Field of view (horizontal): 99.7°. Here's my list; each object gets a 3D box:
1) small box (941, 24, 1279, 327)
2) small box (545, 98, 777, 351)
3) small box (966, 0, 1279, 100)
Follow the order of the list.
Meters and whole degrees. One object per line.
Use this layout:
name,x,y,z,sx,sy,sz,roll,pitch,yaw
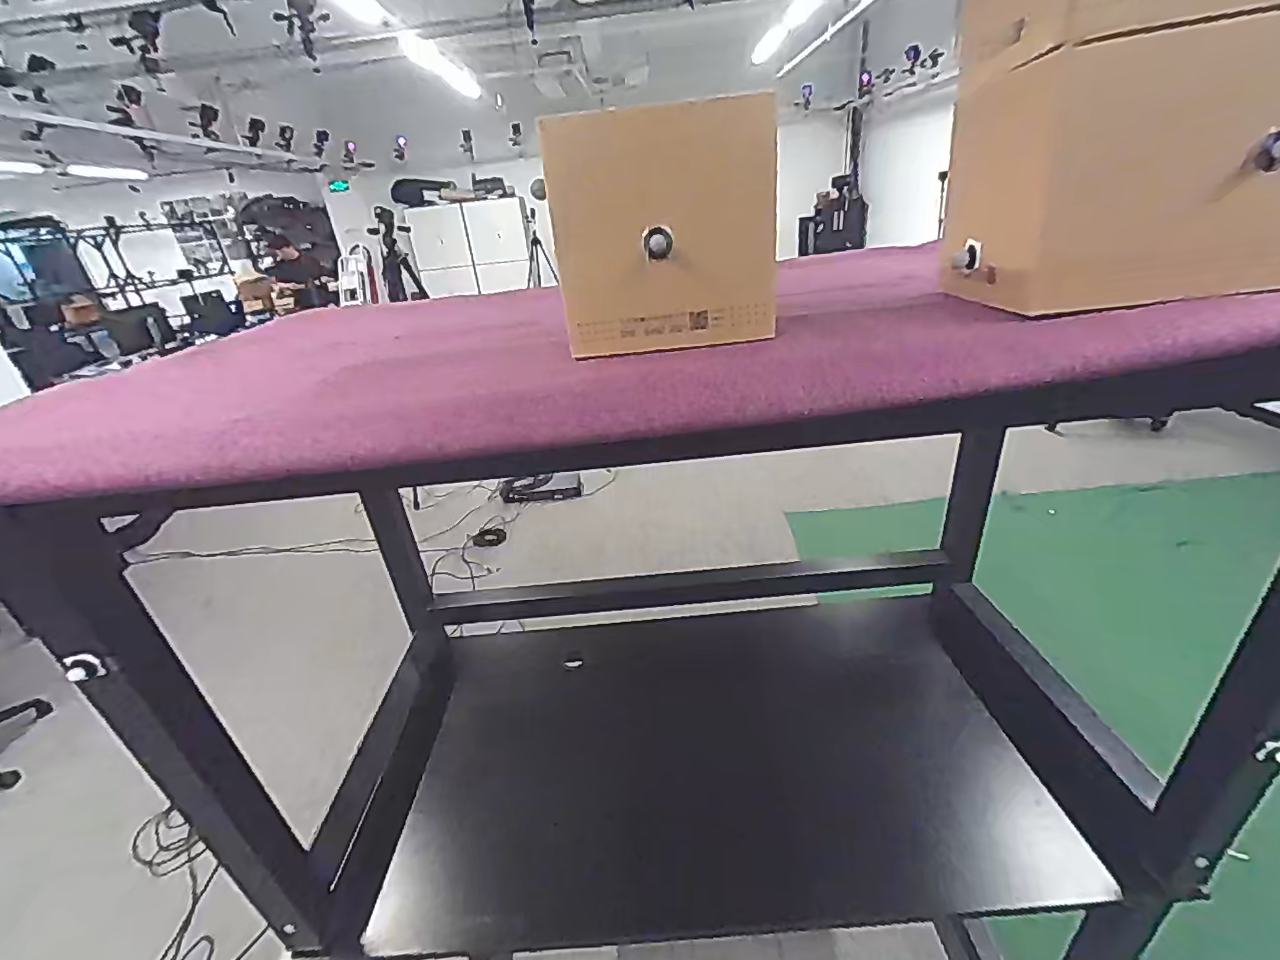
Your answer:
small box,0.369,-0.228,0.432,0.179,0.176,0.168,-5,24,7
small box,0.022,-0.214,0.479,0.168,0.176,0.179,-4,26,2
small box,0.348,-0.377,0.372,0.179,0.176,0.168,-2,24,10
